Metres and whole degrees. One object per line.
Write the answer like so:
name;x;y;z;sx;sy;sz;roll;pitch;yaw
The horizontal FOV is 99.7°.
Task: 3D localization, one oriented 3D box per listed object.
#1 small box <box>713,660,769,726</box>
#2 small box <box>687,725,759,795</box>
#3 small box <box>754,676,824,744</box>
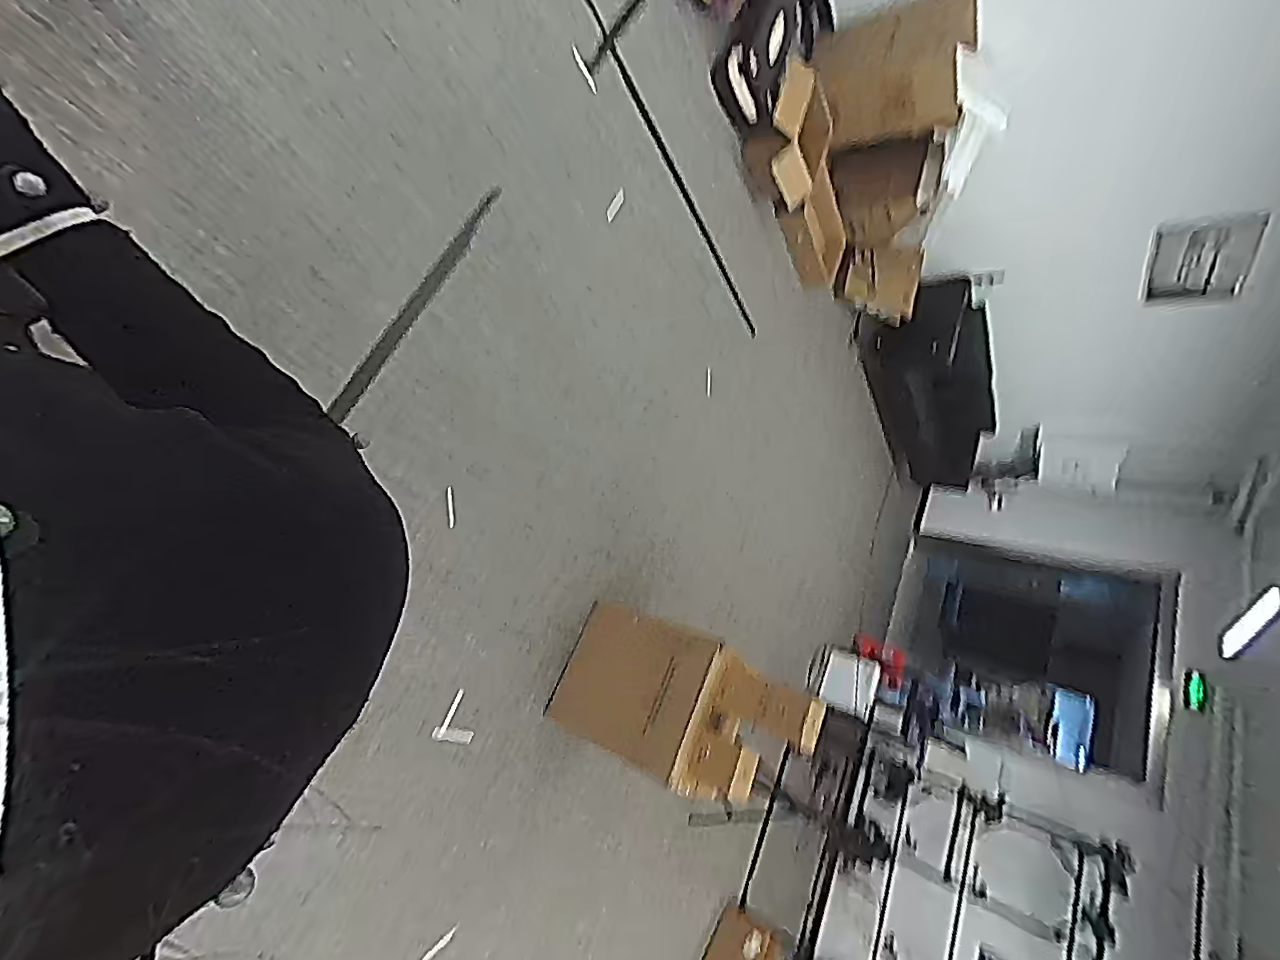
small box;0.398;0.790;2.012;0.179;0.176;0.168;44;64;-45
small box;0.295;0.991;1.922;0.179;0.176;0.168;45;60;-44
small box;0.526;0.810;1.912;0.179;0.176;0.168;41;66;-46
